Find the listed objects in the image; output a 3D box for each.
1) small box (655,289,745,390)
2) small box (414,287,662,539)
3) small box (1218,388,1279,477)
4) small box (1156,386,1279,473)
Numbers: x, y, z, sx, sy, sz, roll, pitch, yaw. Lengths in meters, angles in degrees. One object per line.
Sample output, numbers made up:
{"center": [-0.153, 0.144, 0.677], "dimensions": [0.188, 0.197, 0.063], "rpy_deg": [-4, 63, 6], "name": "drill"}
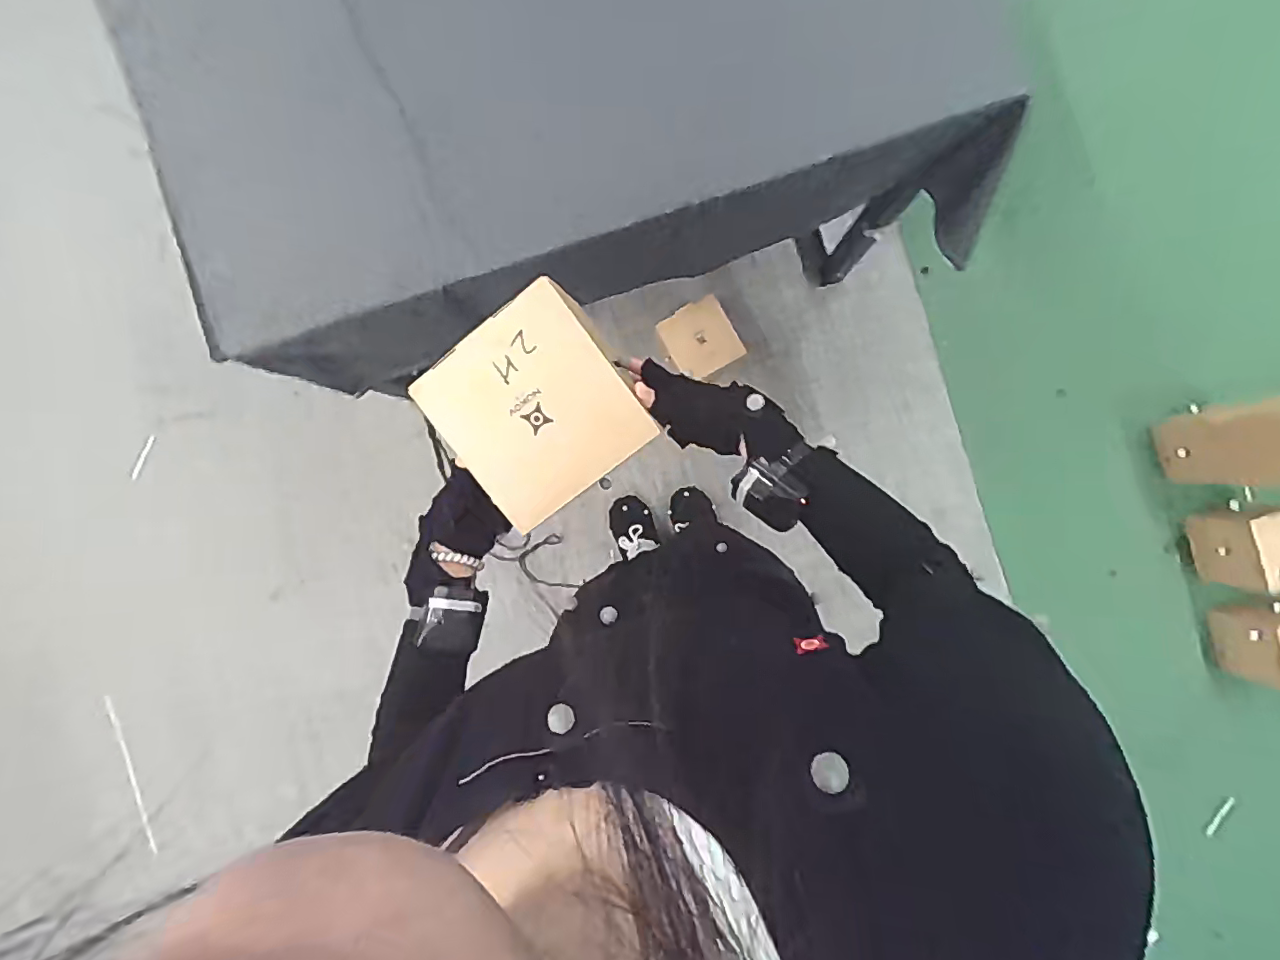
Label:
{"center": [0.149, -0.352, 1.394], "dimensions": [0.168, 0.176, 0.179], "rpy_deg": [-30, 89, 4], "name": "small box"}
{"center": [-0.088, -0.070, 0.569], "dimensions": [0.168, 0.176, 0.179], "rpy_deg": [-36, 94, 9], "name": "small box"}
{"center": [1.433, -0.112, 1.172], "dimensions": [0.168, 0.176, 0.179], "rpy_deg": [-20, 90, 3], "name": "small box"}
{"center": [1.440, -0.118, 1.336], "dimensions": [0.179, 0.176, 0.168], "rpy_deg": [-18, 90, 4], "name": "small box"}
